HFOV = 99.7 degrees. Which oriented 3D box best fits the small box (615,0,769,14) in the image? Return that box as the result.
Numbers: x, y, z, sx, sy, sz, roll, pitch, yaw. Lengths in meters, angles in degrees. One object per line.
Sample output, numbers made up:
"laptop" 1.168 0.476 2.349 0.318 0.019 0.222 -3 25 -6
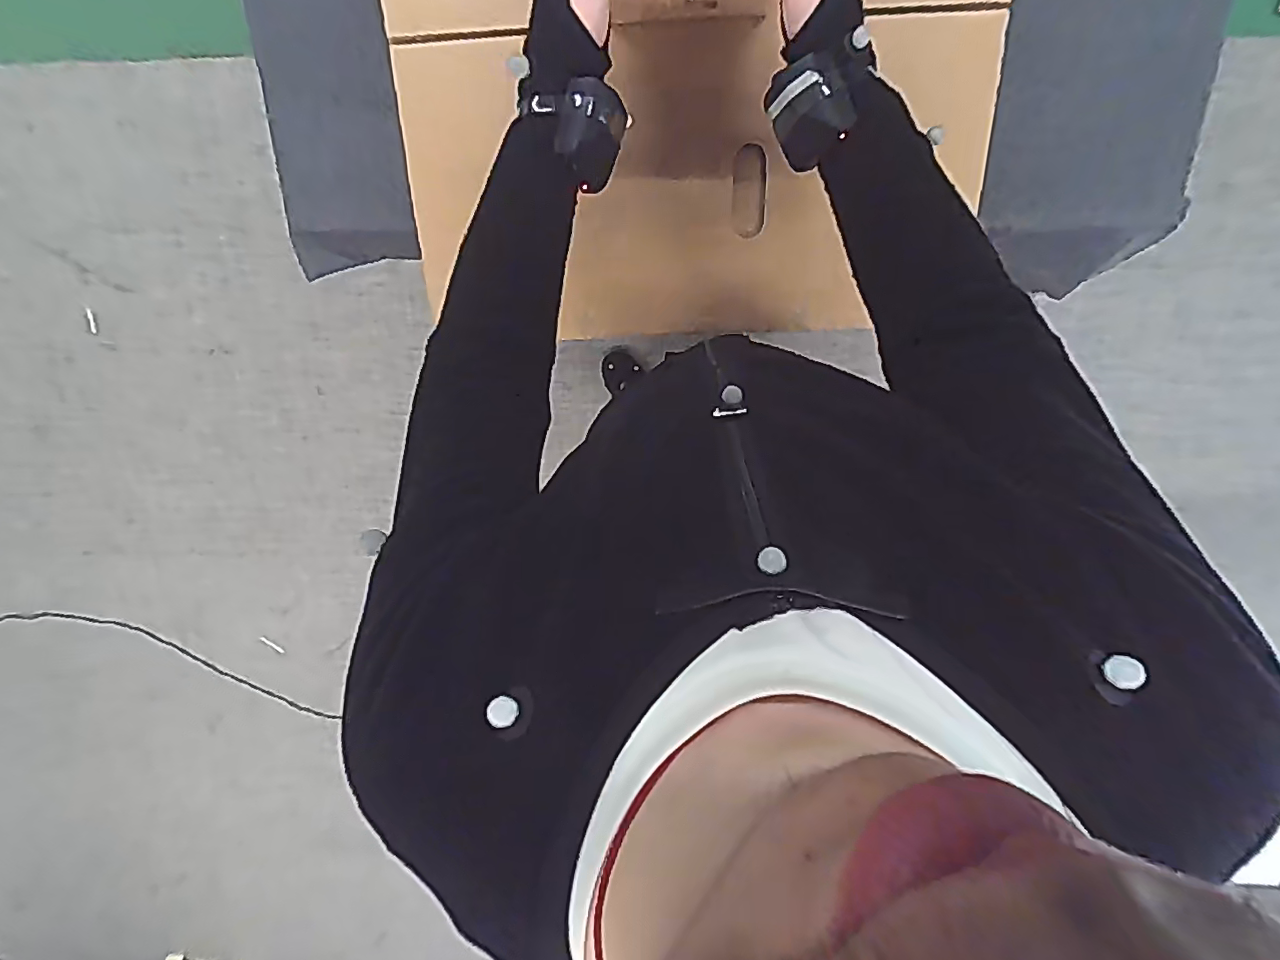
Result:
"small box" 0.044 -0.509 0.428 0.168 0.176 0.179 -3 110 4
